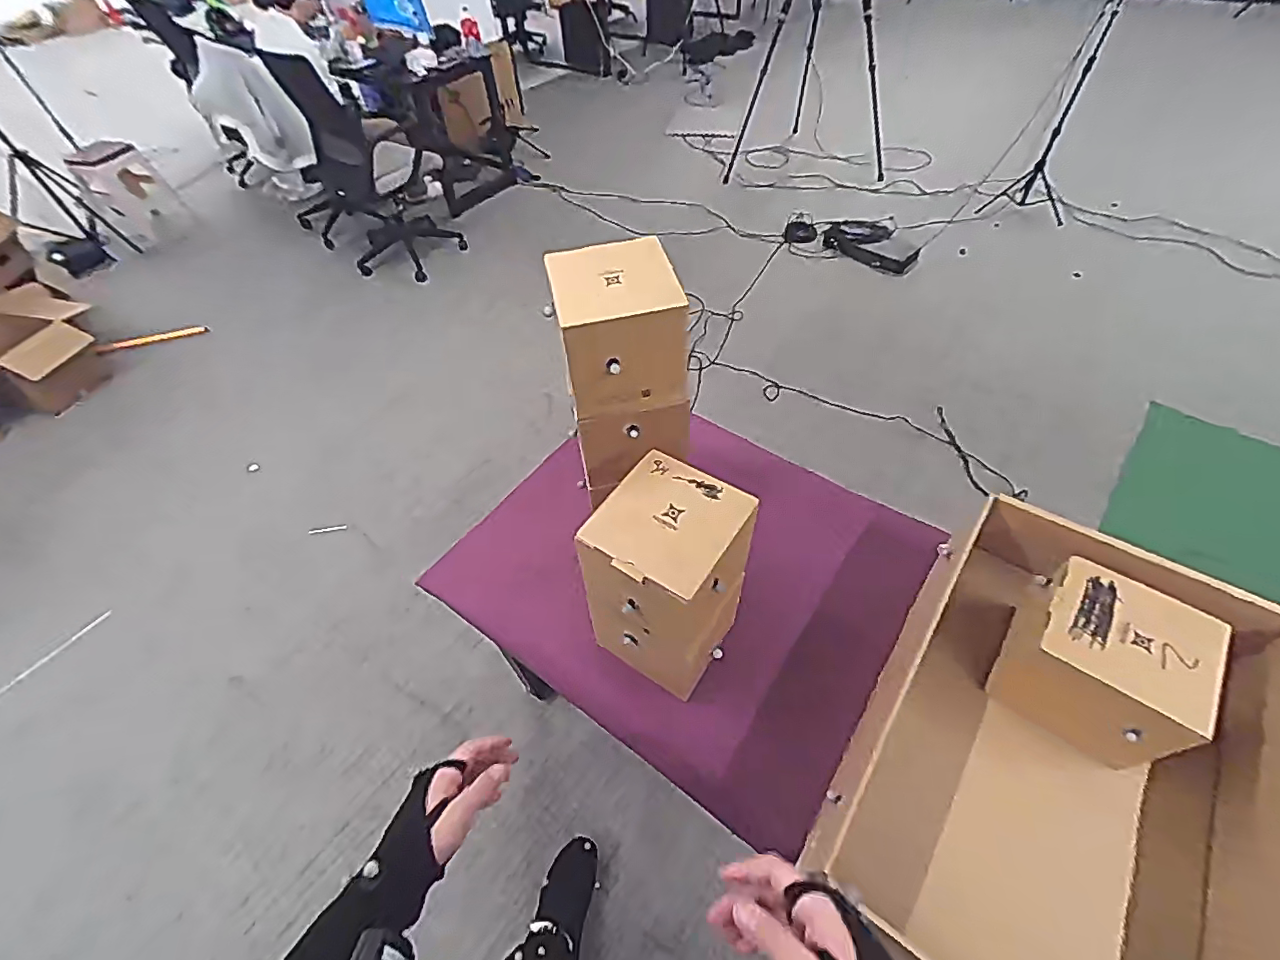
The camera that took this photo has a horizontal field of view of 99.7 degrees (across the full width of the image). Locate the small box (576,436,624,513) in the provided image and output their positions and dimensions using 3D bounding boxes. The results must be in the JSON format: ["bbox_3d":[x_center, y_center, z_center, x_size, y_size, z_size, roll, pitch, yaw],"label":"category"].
[{"bbox_3d":[-0.026,-0.018,1.033,0.168,0.176,0.179,-10,52,-6],"label":"small box"}]

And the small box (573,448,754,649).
[{"bbox_3d":[0.035,0.096,0.732,0.168,0.176,0.179,28,58,22],"label":"small box"}]

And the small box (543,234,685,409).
[{"bbox_3d":[-0.034,-0.220,0.780,0.168,0.176,0.179,-12,53,-6],"label":"small box"}]

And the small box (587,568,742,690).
[{"bbox_3d":[0.038,0.202,0.857,0.179,0.176,0.168,27,57,21],"label":"small box"}]

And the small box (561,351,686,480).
[{"bbox_3d":[-0.025,-0.118,0.905,0.179,0.176,0.168,-10,53,-6],"label":"small box"}]
